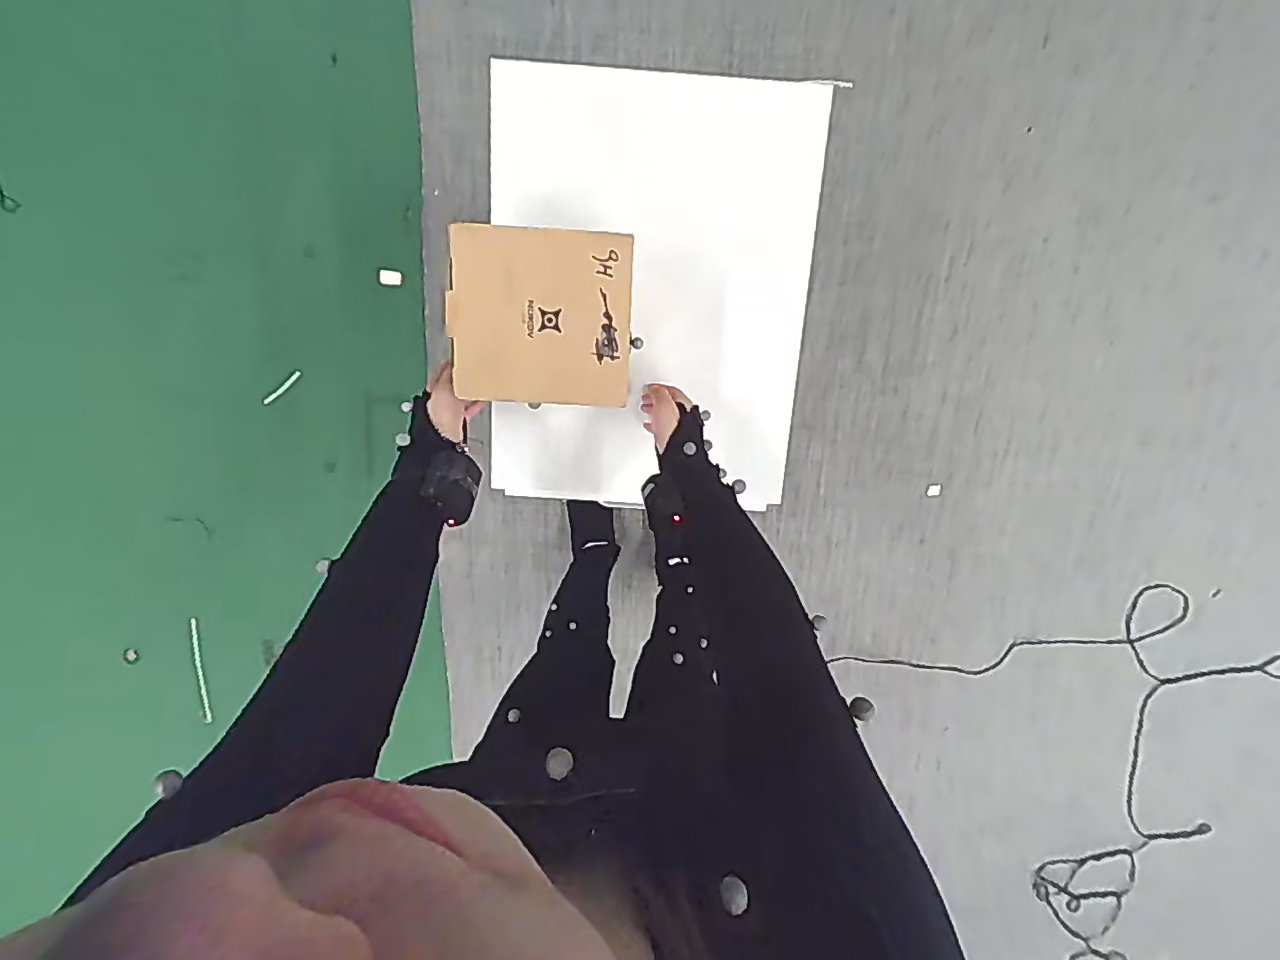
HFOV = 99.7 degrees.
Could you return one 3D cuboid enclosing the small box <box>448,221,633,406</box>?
[{"bbox_3d":[-0.101,-0.177,0.603,0.179,0.176,0.168,3,104,-3],"label":"small box"}]
